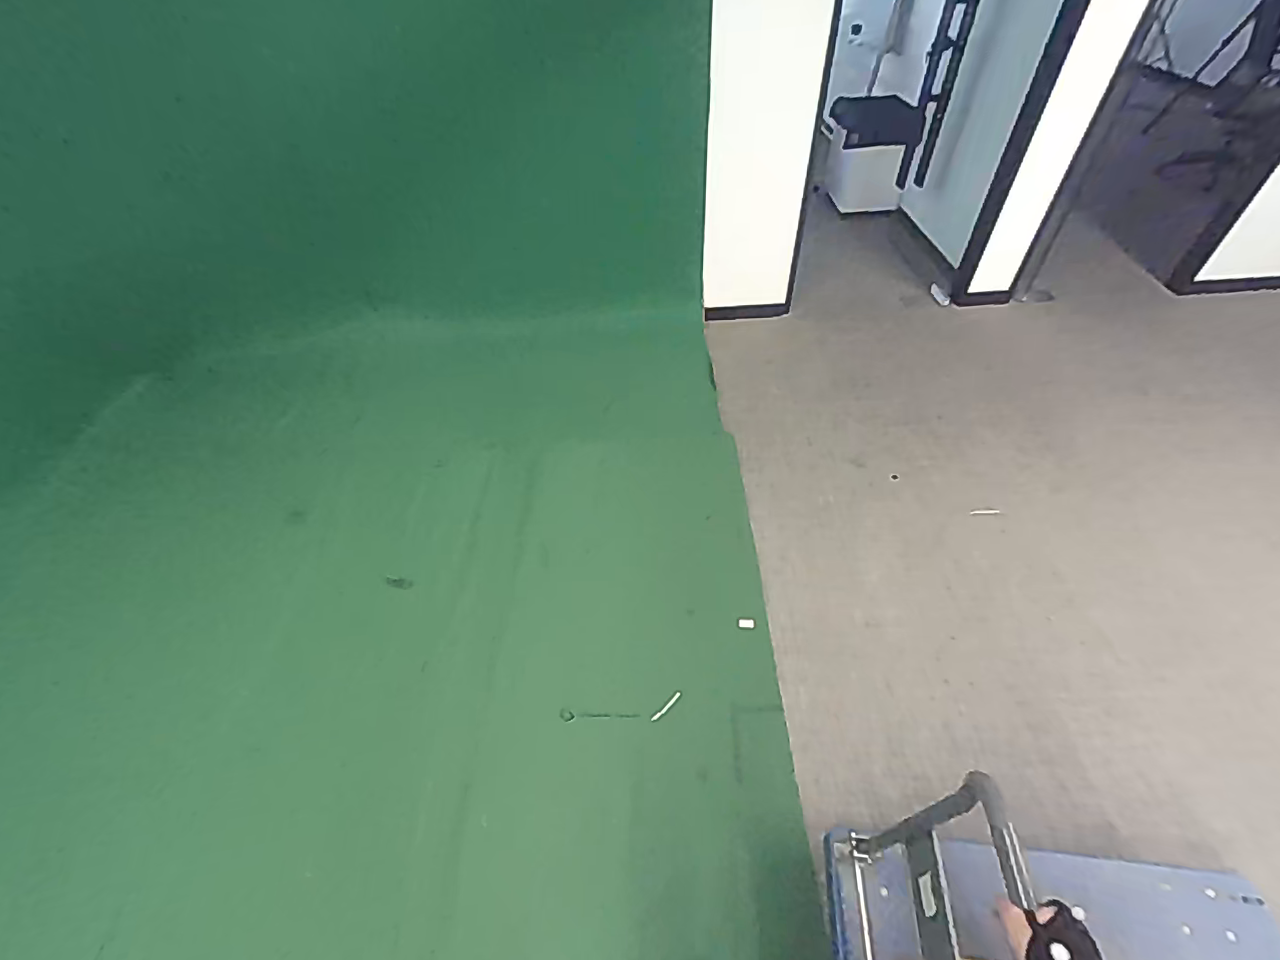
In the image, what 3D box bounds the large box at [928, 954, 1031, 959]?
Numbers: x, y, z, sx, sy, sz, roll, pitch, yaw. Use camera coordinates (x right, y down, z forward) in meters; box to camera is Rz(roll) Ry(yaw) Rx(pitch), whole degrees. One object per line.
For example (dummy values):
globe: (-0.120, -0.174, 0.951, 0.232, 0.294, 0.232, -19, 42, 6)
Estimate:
large box: (0.668, 0.966, 0.841, 0.408, 0.320, 0.320, 3, 48, 5)
